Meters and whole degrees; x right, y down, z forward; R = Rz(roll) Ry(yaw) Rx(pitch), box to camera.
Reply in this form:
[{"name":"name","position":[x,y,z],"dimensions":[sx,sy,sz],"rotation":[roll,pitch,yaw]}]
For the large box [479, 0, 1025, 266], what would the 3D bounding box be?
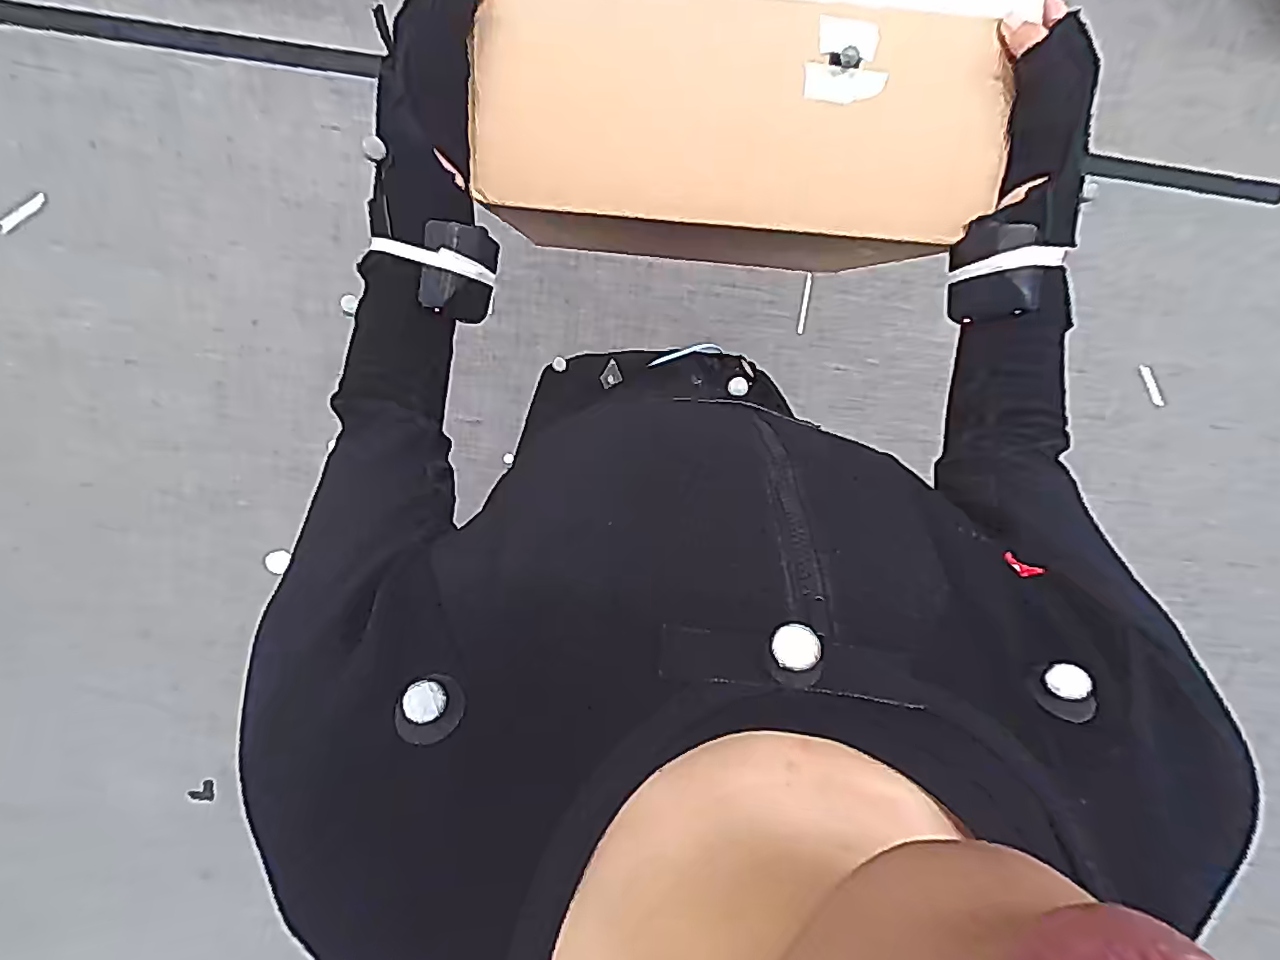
[{"name":"large box","position":[0.076,-0.397,0.529],"dimensions":[0.408,0.320,0.320],"rotation":[4,109,-4]}]
